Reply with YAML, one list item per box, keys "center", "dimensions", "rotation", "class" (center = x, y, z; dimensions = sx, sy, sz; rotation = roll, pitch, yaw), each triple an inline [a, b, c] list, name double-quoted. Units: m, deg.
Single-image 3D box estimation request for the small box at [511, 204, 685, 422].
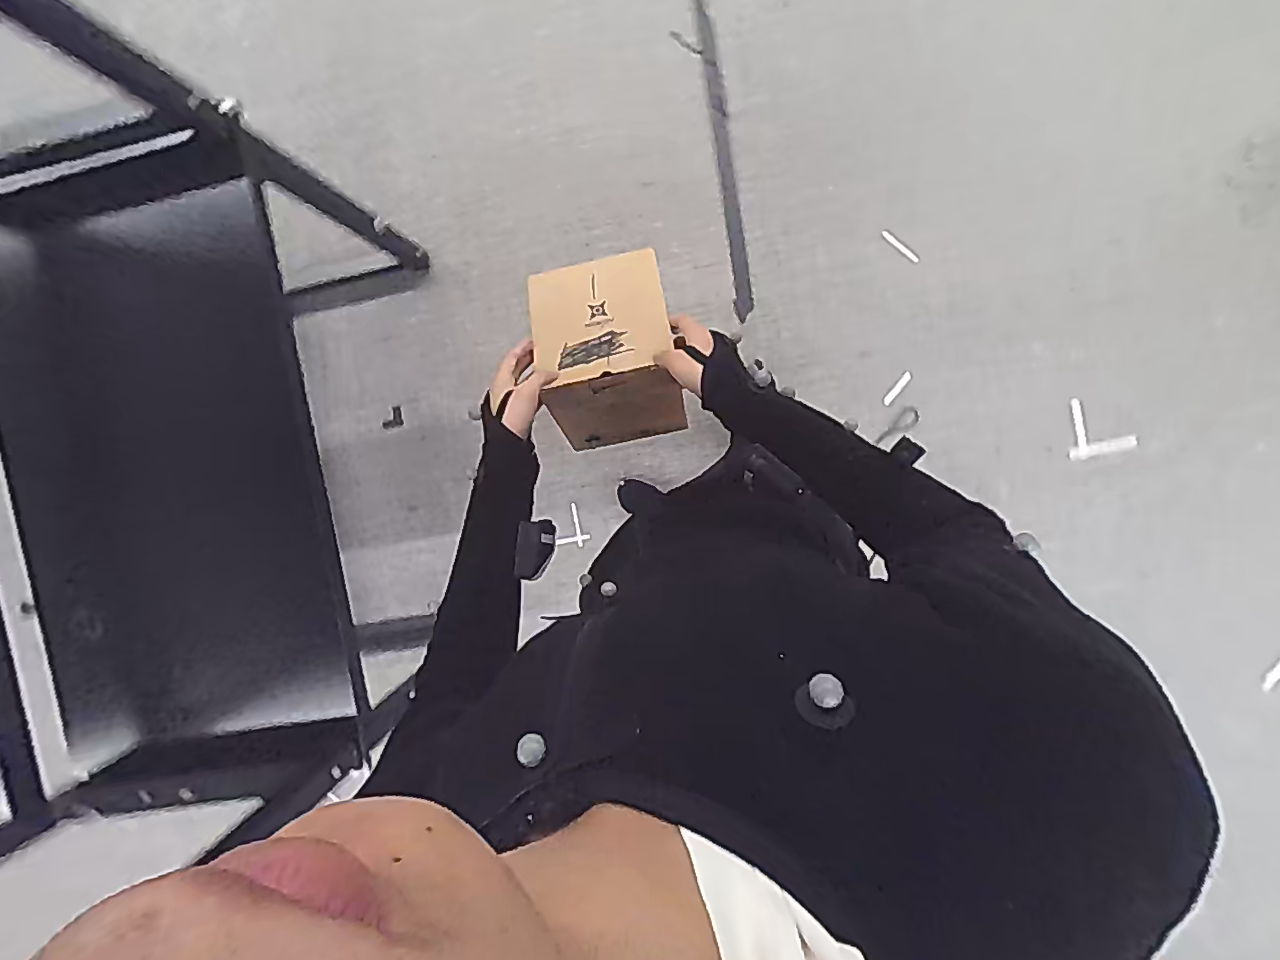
- center: [-0.043, -0.183, 0.646]
  dimensions: [0.168, 0.176, 0.179]
  rotation: [-11, 68, 5]
  class: "small box"
